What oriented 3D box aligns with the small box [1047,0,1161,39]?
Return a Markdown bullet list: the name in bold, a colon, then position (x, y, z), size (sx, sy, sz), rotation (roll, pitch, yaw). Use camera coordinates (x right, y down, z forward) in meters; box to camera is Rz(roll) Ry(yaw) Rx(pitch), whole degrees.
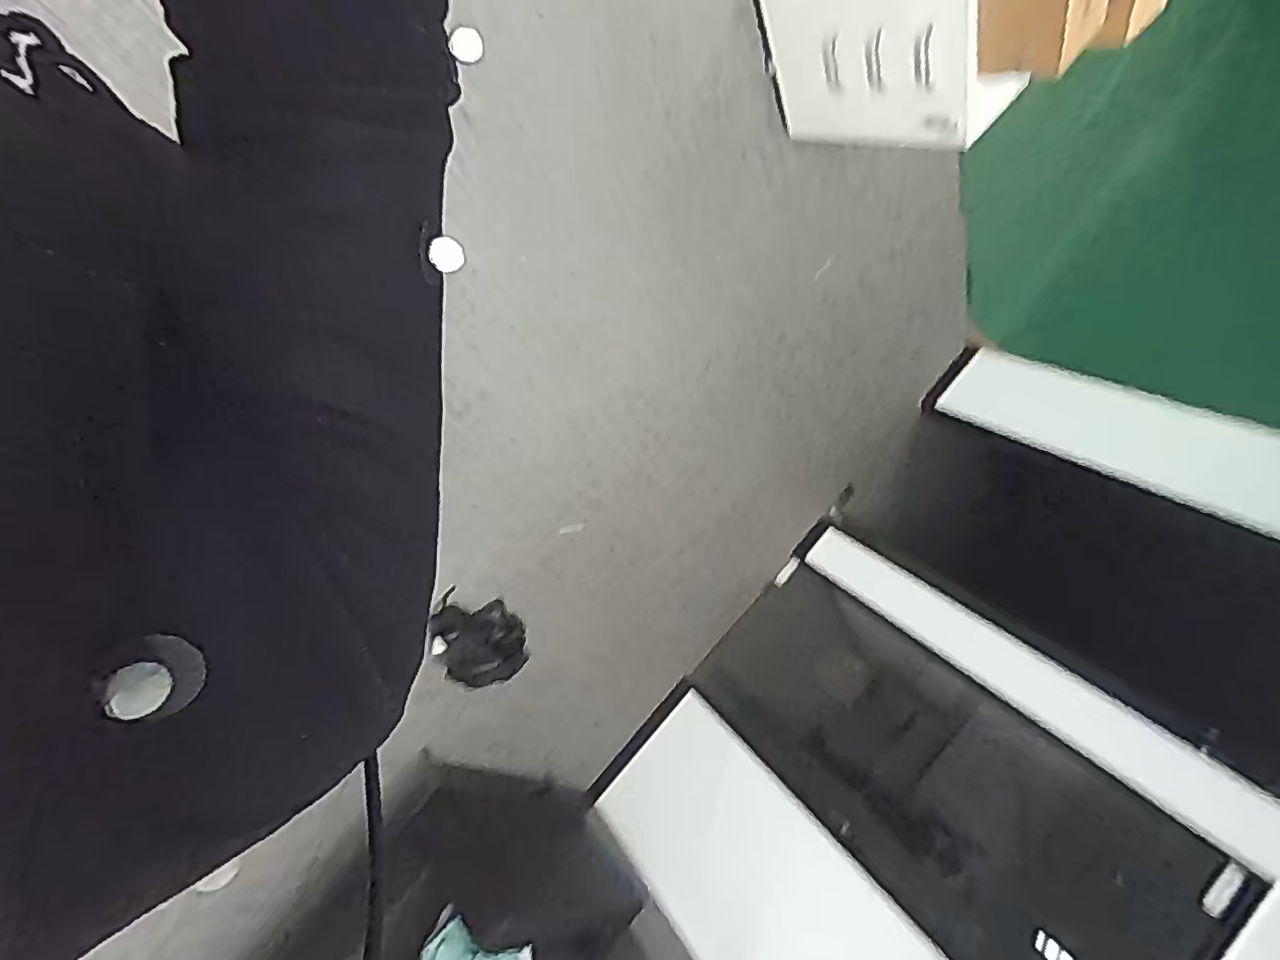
- **small box**: position (1.048, -1.123, 1.203), size (0.168, 0.176, 0.179), rotation (-44, 137, -8)
